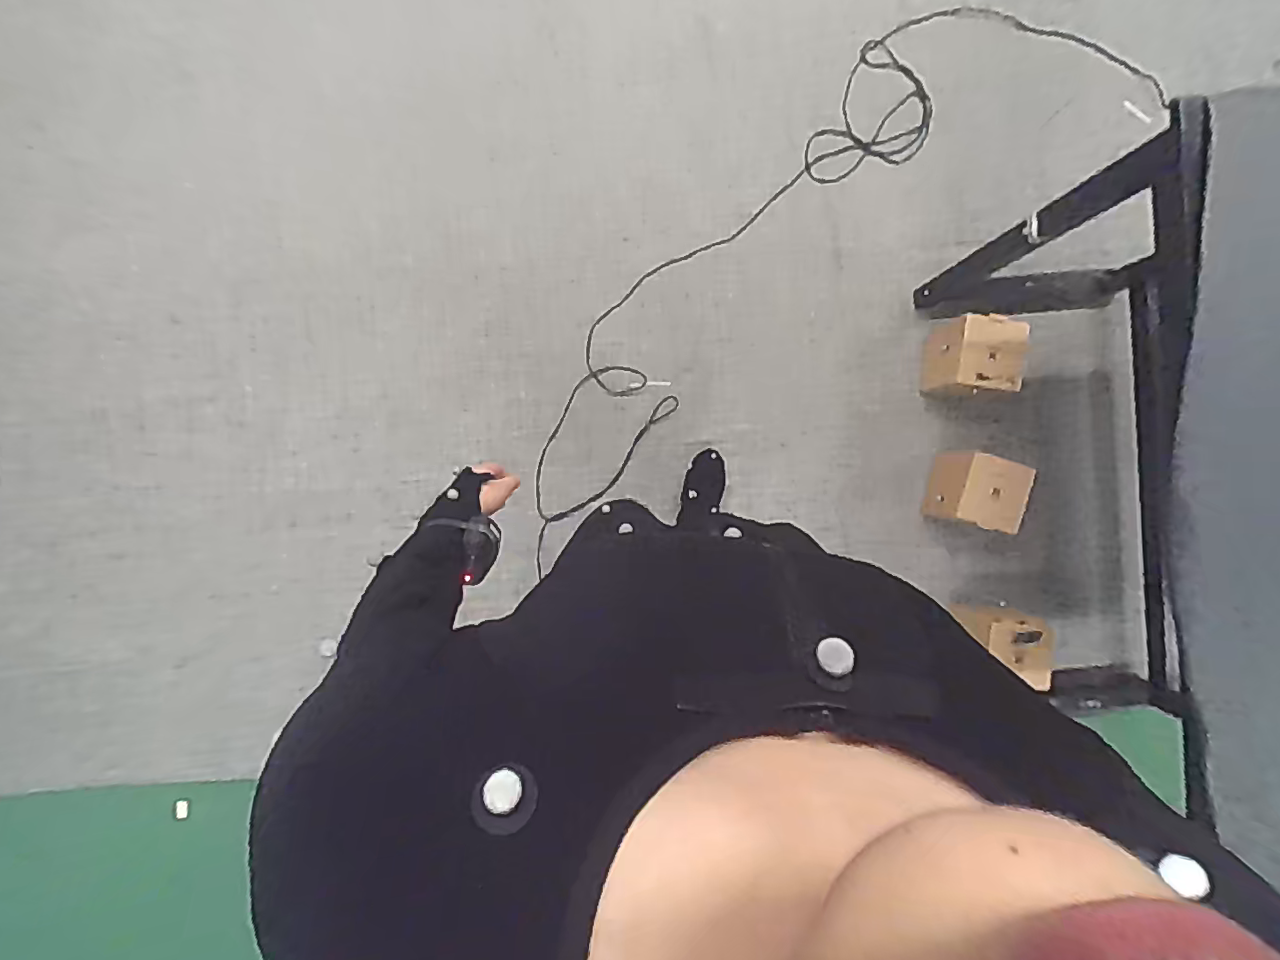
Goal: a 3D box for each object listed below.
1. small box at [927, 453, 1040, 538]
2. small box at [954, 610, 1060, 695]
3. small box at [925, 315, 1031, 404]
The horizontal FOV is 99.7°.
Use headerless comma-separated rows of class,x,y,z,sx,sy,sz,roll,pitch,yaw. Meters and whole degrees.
small box,0.882,0.040,1.408,0.168,0.176,0.179,16,88,-2
small box,0.947,0.441,1.408,0.168,0.176,0.179,1,91,-1
small box,0.872,-0.307,1.409,0.168,0.176,0.179,8,89,-1
